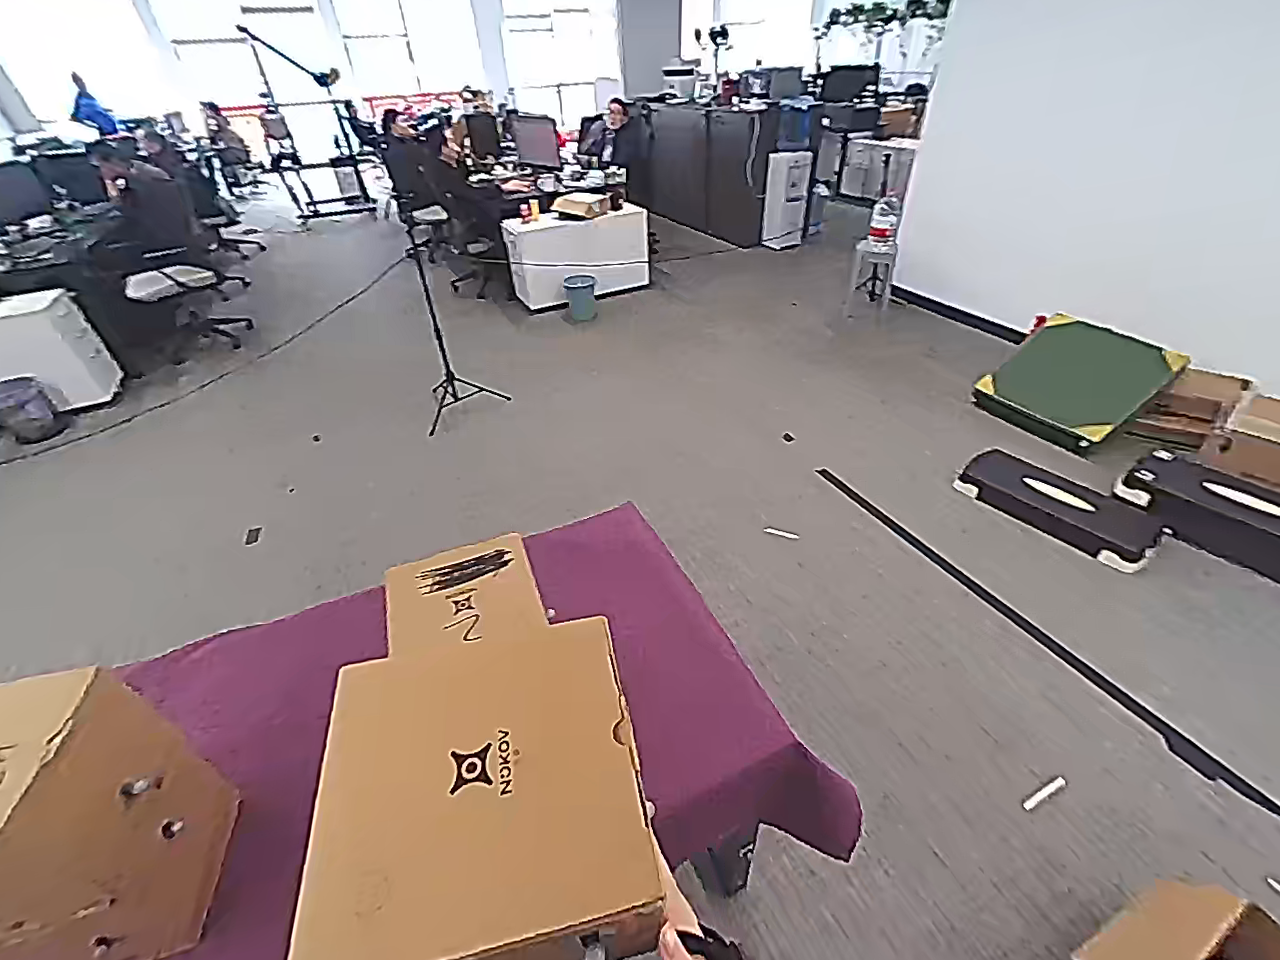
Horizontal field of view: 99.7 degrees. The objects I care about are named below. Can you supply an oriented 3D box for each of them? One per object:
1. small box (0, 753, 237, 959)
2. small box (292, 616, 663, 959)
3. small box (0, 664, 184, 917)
[{"bbox_3d":[-0.625,0.450,0.643,0.168,0.176,0.179,-10,38,-10],"label":"small box"},{"bbox_3d":[-0.088,0.220,0.361,0.179,0.176,0.168,-9,44,-10],"label":"small box"},{"bbox_3d":[-0.627,0.319,0.544,0.179,0.176,0.168,-9,39,-10],"label":"small box"}]
